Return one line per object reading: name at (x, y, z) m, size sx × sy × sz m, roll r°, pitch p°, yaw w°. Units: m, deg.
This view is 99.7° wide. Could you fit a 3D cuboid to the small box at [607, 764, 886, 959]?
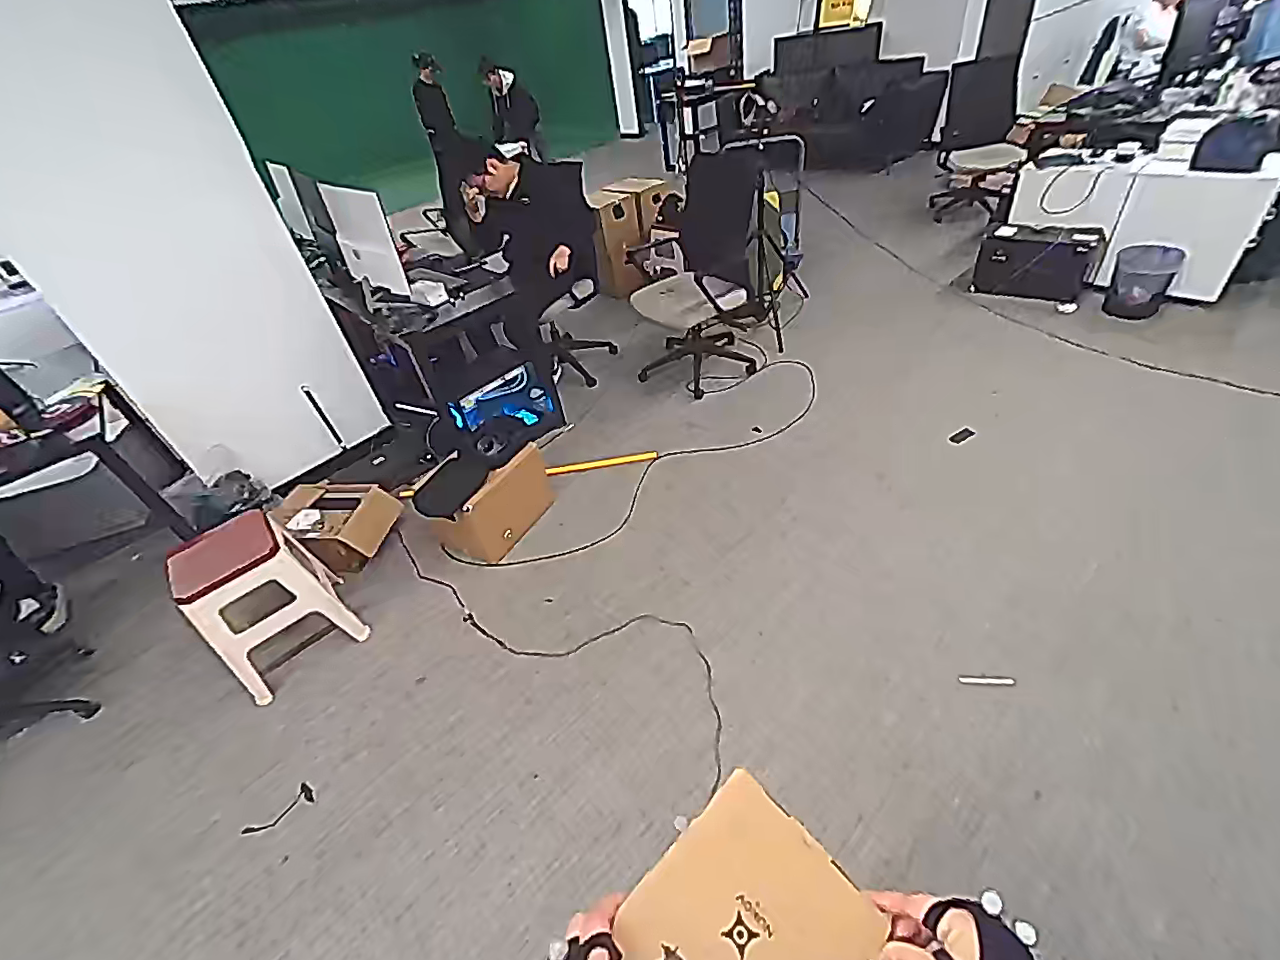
small box at (0.088, 0.410, 0.509) m, size 0.179 × 0.176 × 0.168 m, roll -38°, pitch 60°, yaw -23°
